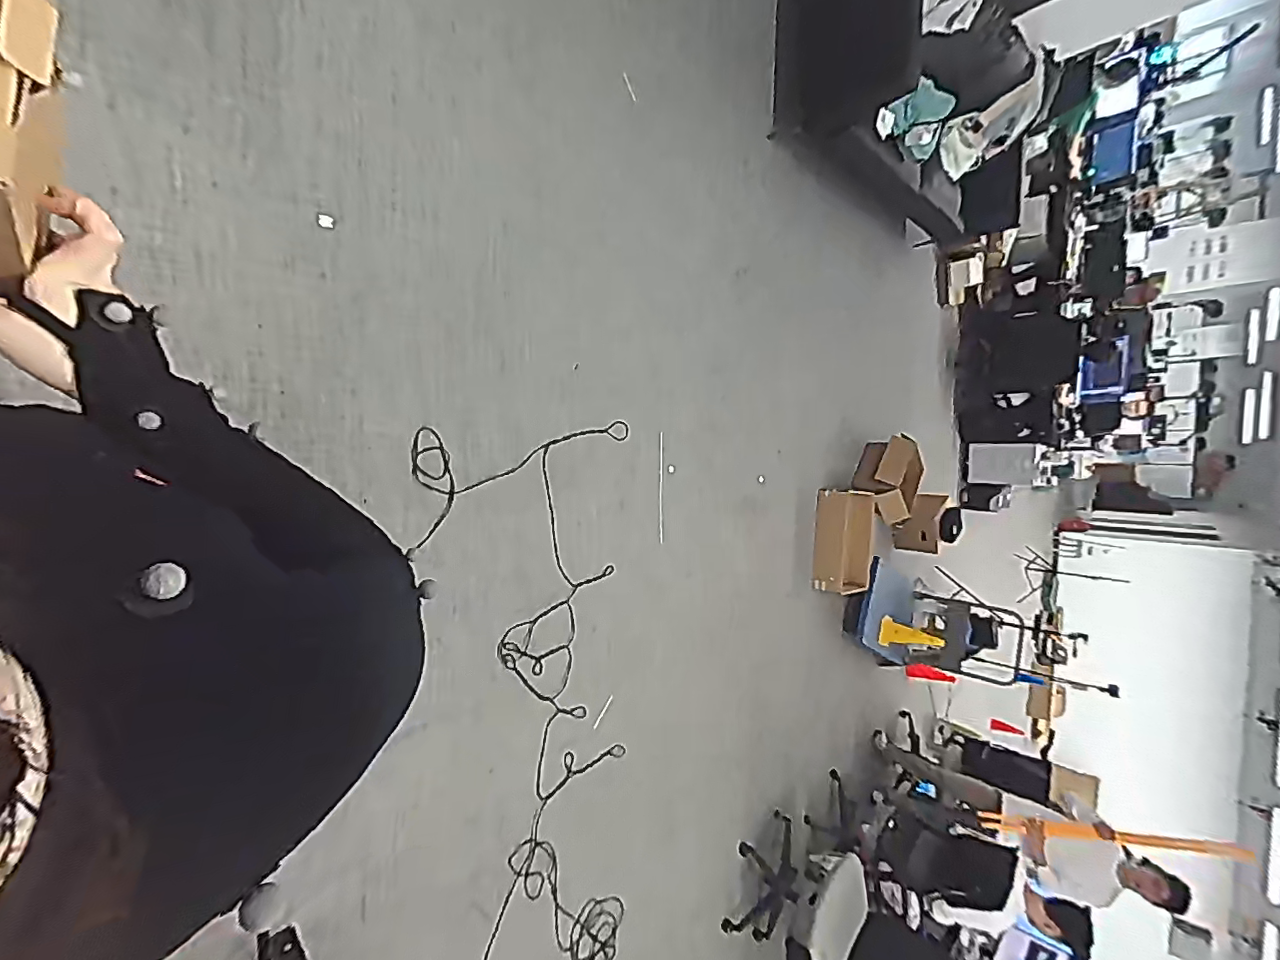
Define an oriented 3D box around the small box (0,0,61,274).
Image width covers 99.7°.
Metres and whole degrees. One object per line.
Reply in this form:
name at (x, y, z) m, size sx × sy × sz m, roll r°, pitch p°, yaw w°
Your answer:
small box at (-0.416, -0.220, 0.261) m, size 0.179 × 0.176 × 0.168 m, roll 5°, pitch 80°, yaw -44°
